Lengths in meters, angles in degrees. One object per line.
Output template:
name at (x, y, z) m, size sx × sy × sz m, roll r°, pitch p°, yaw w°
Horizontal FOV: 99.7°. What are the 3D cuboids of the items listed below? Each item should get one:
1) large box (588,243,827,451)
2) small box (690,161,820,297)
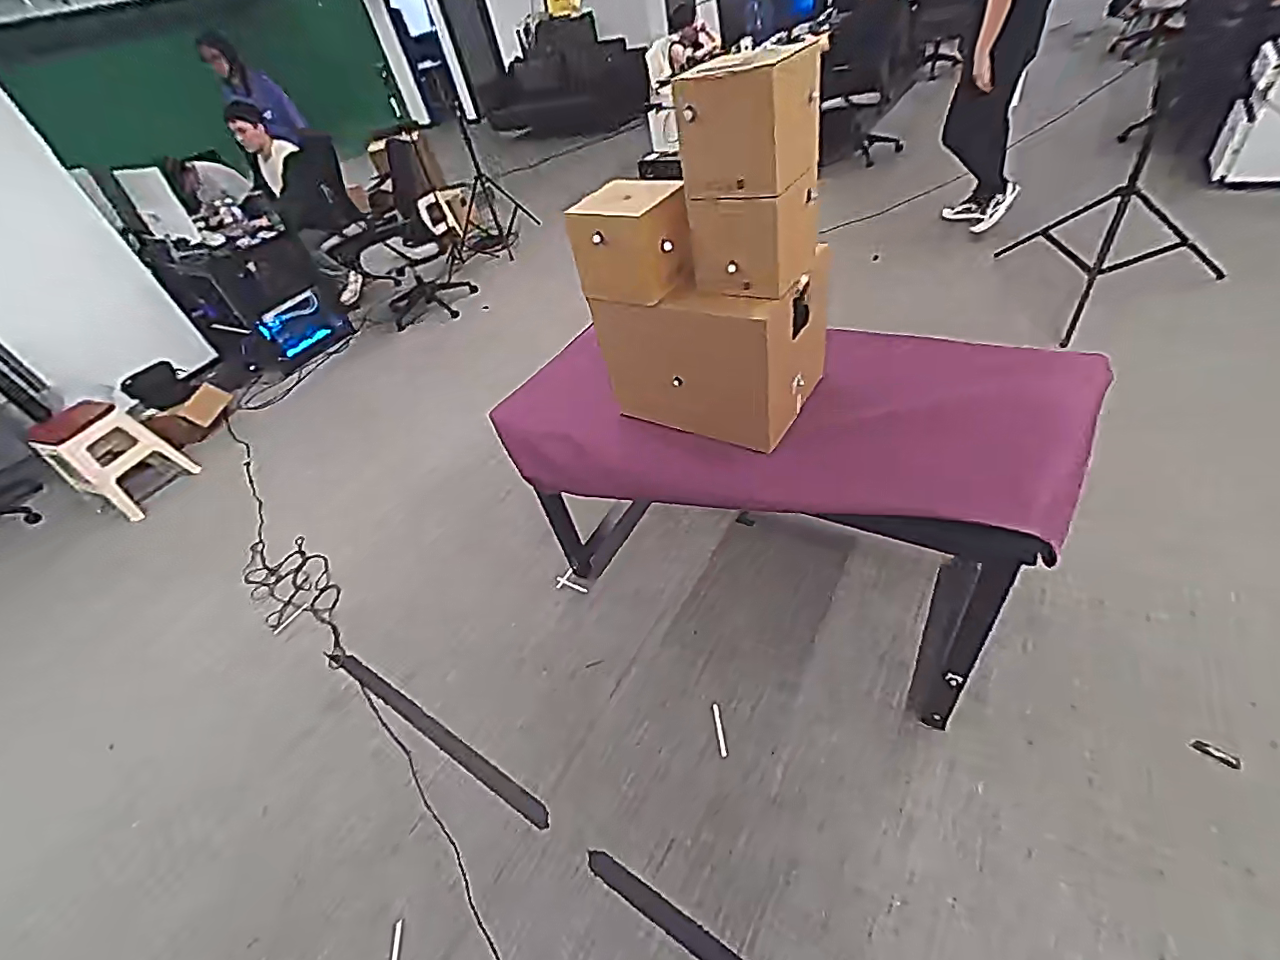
large box at (0.164, -0.305, 1.193) m, size 0.408 × 0.320 × 0.320 m, roll 17°, pitch 50°, yaw 31°
small box at (0.209, -0.450, 0.970) m, size 0.168 × 0.176 × 0.179 m, roll 17°, pitch 51°, yaw 32°
